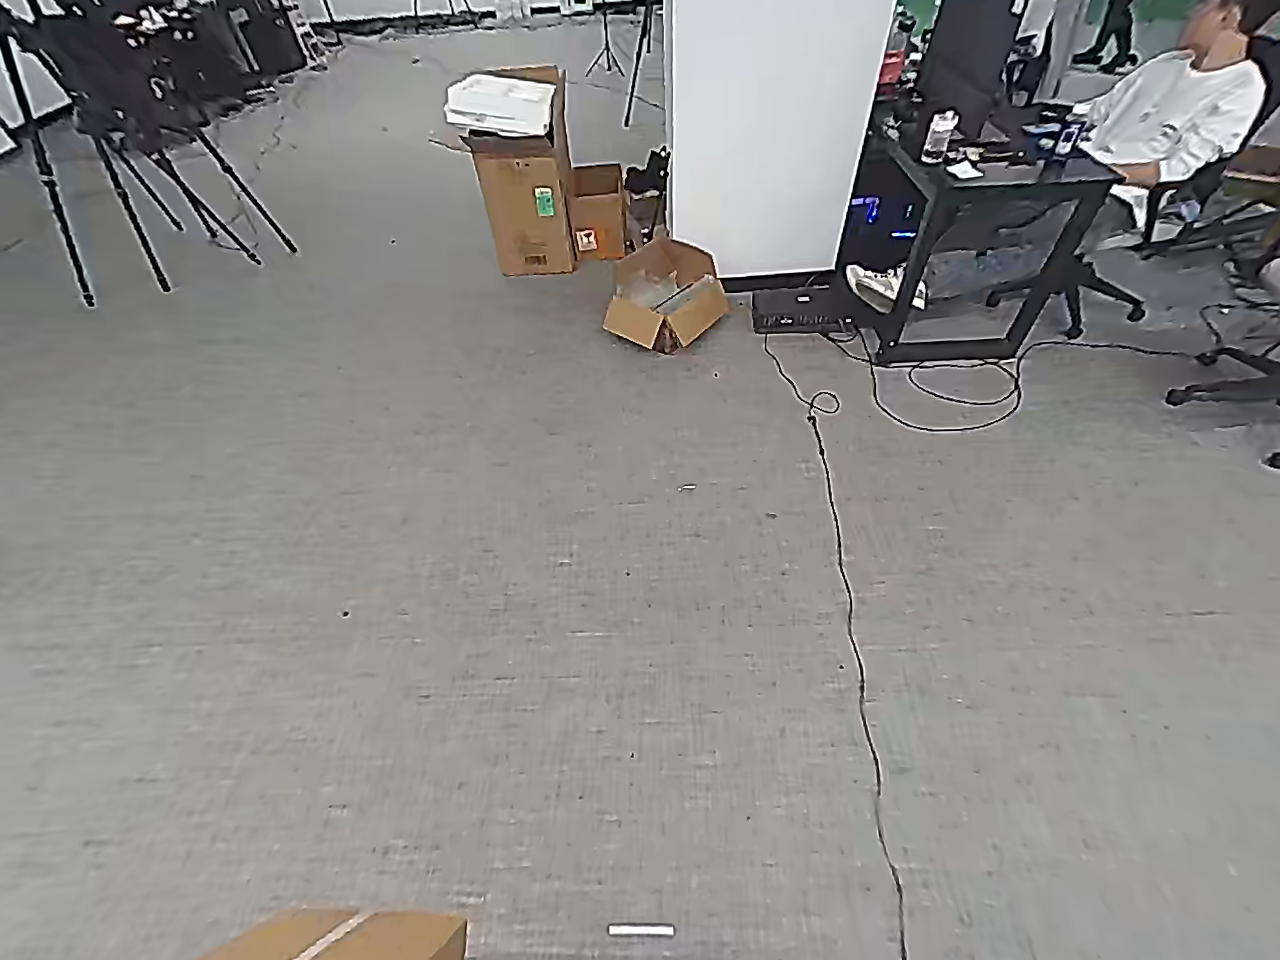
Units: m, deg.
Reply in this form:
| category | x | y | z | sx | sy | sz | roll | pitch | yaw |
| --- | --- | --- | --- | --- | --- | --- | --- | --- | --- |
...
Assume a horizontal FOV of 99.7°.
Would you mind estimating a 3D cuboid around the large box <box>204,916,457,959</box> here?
| category | x | y | z | sx | sy | sz | roll | pitch | yaw |
| --- | --- | --- | --- | --- | --- | --- | --- | --- | --- |
| large box | -0.447 | 0.766 | 0.610 | 0.320 | 0.408 | 0.320 | -3 | 70 | 5 |
